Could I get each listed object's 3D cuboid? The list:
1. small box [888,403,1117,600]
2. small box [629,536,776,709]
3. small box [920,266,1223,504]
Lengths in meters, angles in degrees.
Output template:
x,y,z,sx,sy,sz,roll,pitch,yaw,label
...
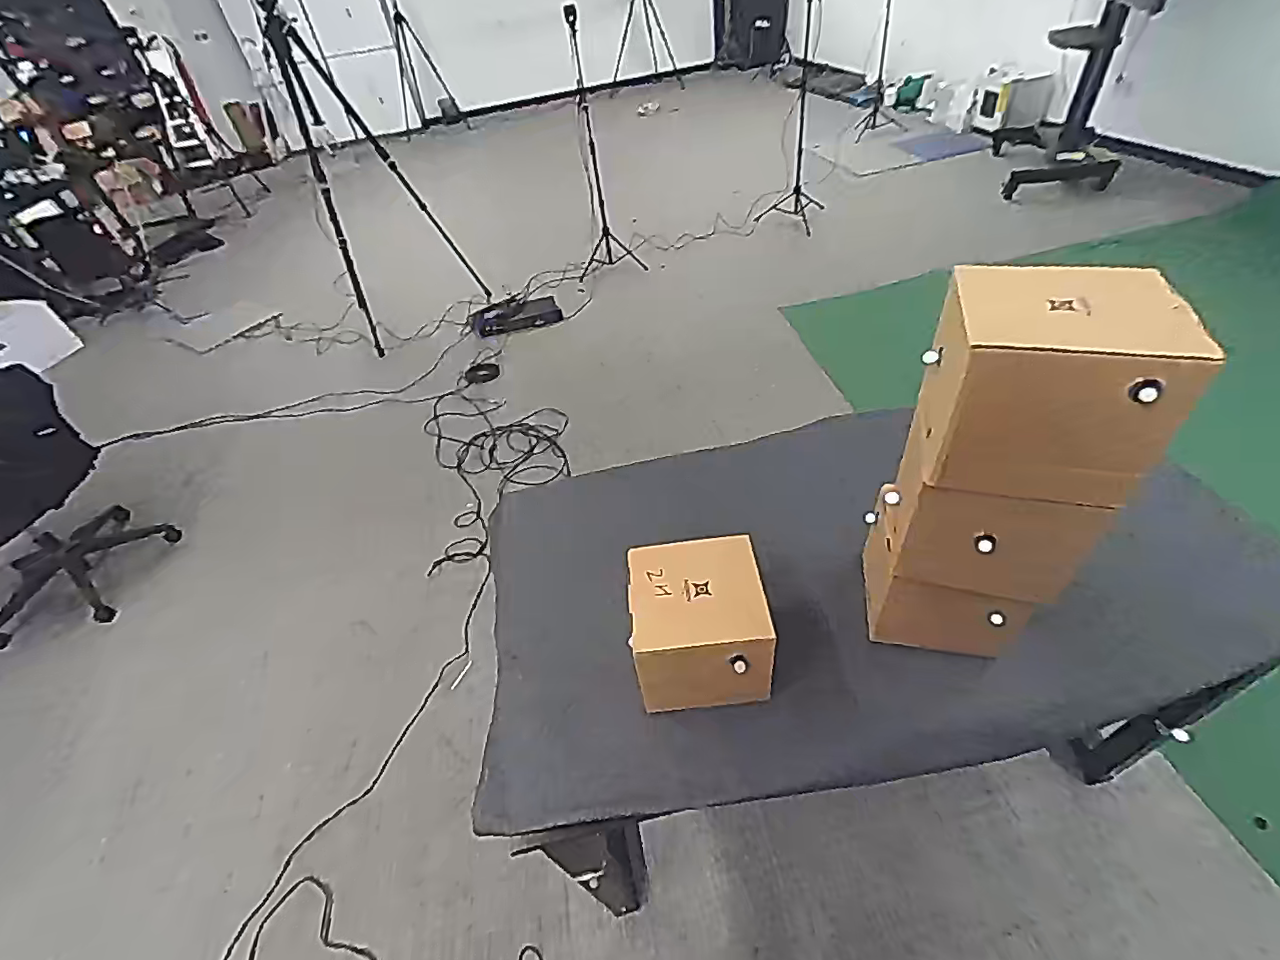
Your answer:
x,y,z,sx,sy,sz,roll,pitch,yaw,label
0.411,0.021,0.646,0.179,0.176,0.168,9,47,20,small box
0.083,0.202,0.759,0.179,0.176,0.168,-8,43,3,small box
0.387,-0.095,0.534,0.179,0.176,0.168,8,46,17,small box
